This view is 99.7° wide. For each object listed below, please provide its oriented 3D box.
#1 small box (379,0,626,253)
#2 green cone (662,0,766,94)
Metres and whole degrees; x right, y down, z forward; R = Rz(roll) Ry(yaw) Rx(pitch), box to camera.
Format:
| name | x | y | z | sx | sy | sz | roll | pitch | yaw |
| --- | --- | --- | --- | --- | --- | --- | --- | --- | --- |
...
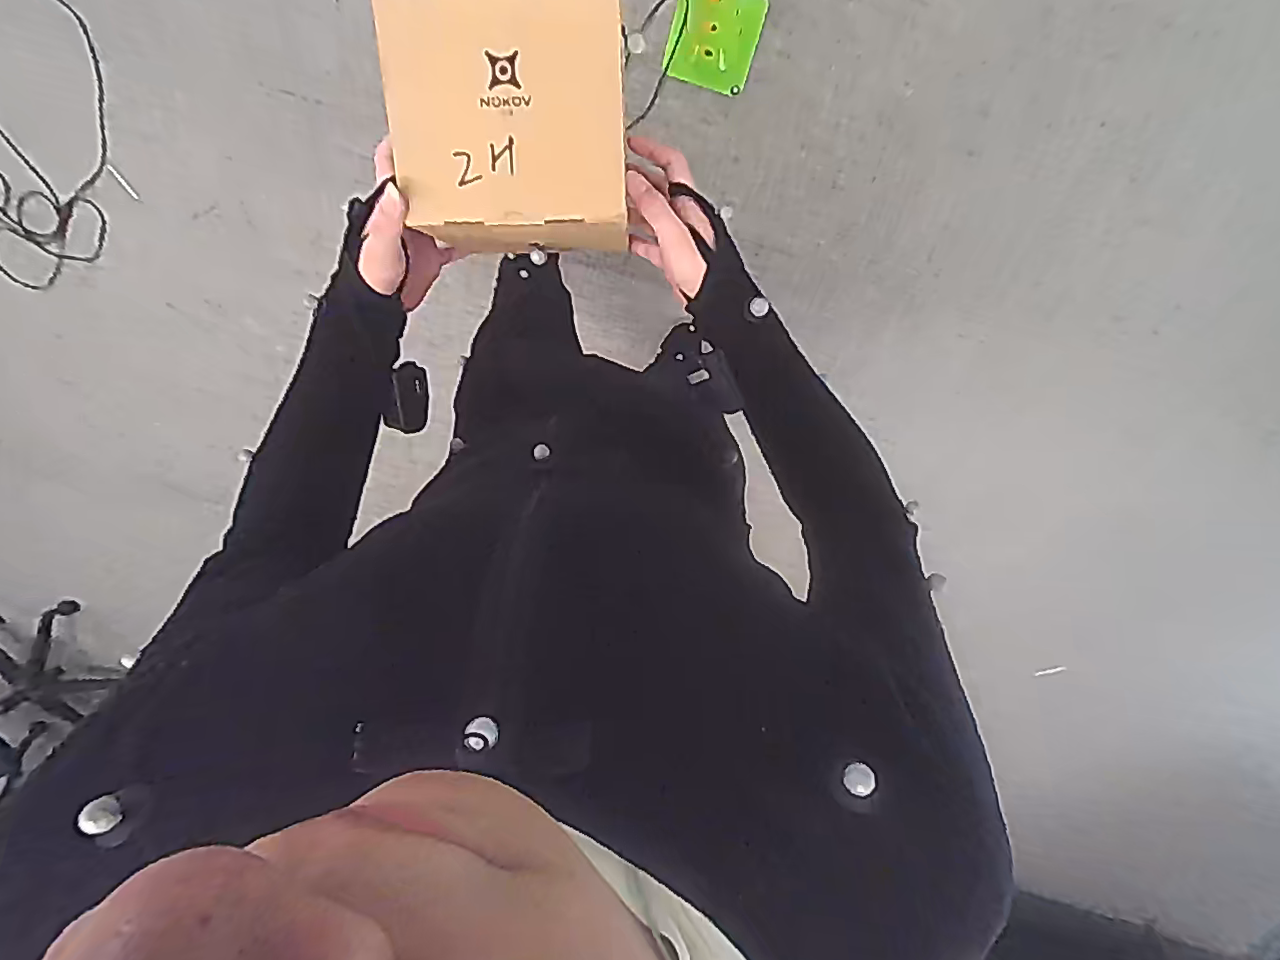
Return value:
| name | x | y | z | sx | sy | sz | roll | pitch | yaw |
| --- | --- | --- | --- | --- | --- | --- | --- | --- | --- |
| small box | -0.097 | -0.297 | 0.458 | 0.168 | 0.176 | 0.179 | -1 | 107 | 0 |
| green cone | 0.152 | -0.963 | 1.082 | 0.202 | 0.368 | 0.200 | 17 | 112 | -1 |
